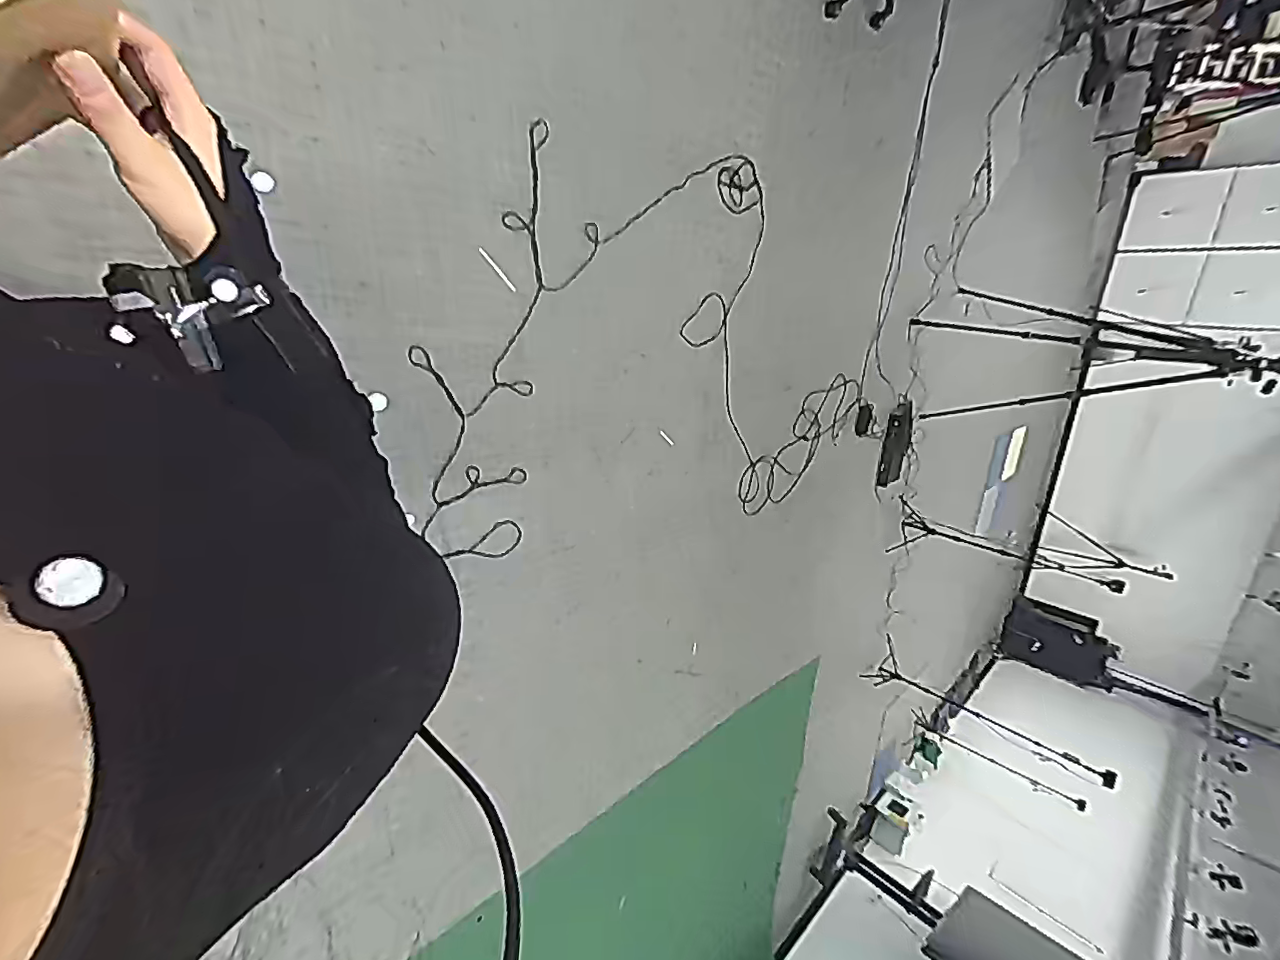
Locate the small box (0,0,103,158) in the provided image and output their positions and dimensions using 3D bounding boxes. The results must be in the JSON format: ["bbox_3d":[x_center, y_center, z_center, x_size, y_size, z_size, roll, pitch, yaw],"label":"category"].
[{"bbox_3d":[-0.347,-0.207,0.193,0.179,0.176,0.168,-54,132,-20],"label":"small box"}]
